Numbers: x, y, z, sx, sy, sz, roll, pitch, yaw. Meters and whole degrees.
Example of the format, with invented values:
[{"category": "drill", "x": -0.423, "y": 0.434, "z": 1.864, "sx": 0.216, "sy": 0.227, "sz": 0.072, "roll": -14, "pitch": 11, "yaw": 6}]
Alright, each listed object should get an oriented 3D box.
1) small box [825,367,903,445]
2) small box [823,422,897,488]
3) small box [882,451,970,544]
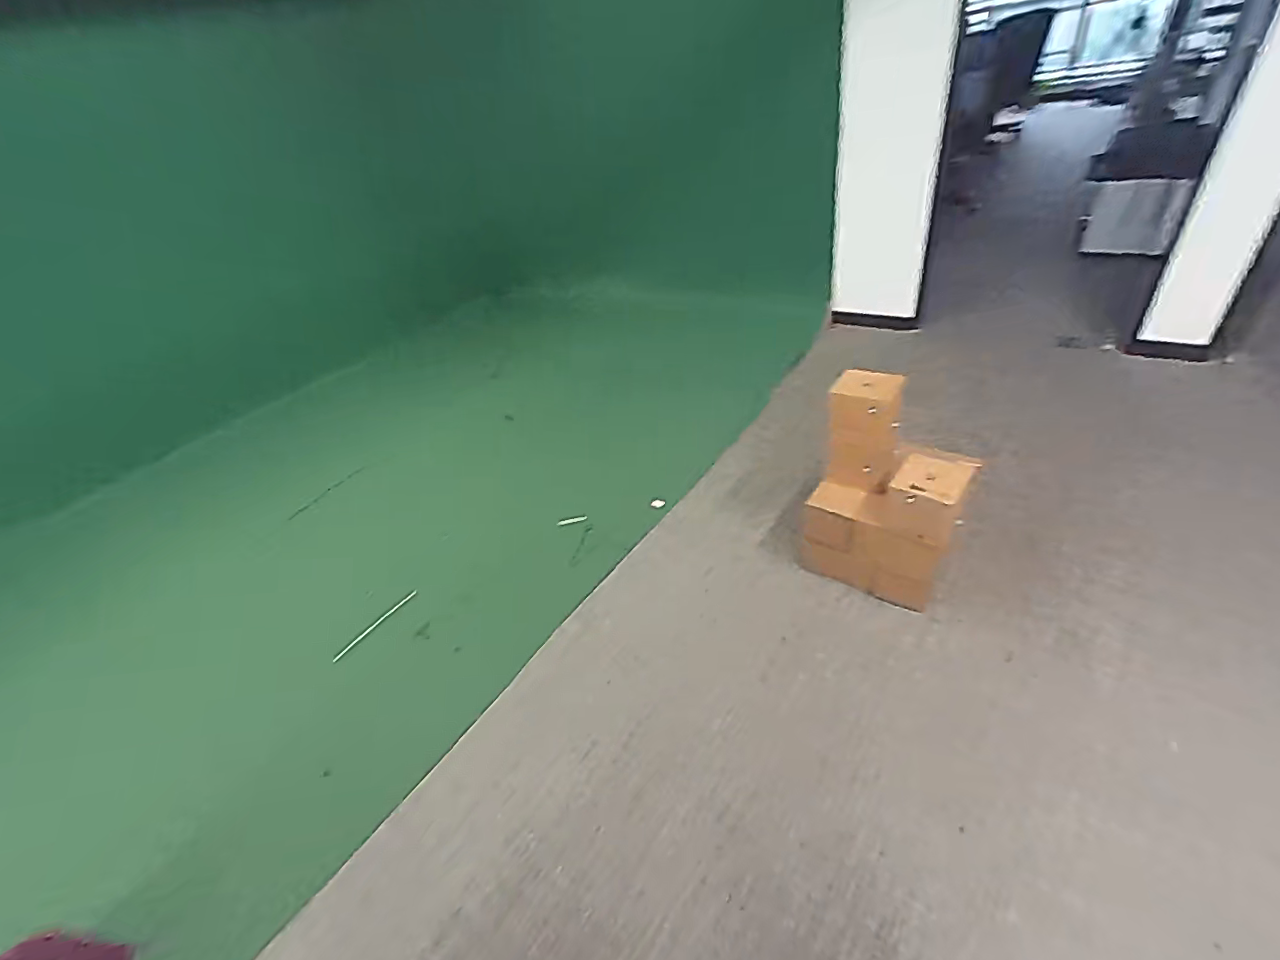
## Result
[{"category": "small box", "x": 0.681, "y": -0.226, "z": 1.659, "sx": 0.179, "sy": 0.176, "sz": 0.168, "roll": 18, "pitch": 45, "yaw": 32}, {"category": "small box", "x": 0.710, "y": -0.094, "z": 1.751, "sx": 0.179, "sy": 0.176, "sz": 0.168, "roll": 16, "pitch": 44, "yaw": 33}, {"category": "small box", "x": 0.807, "y": 0.048, "z": 1.539, "sx": 0.168, "sy": 0.176, "sz": 0.179, "roll": 23, "pitch": 49, "yaw": 36}]
